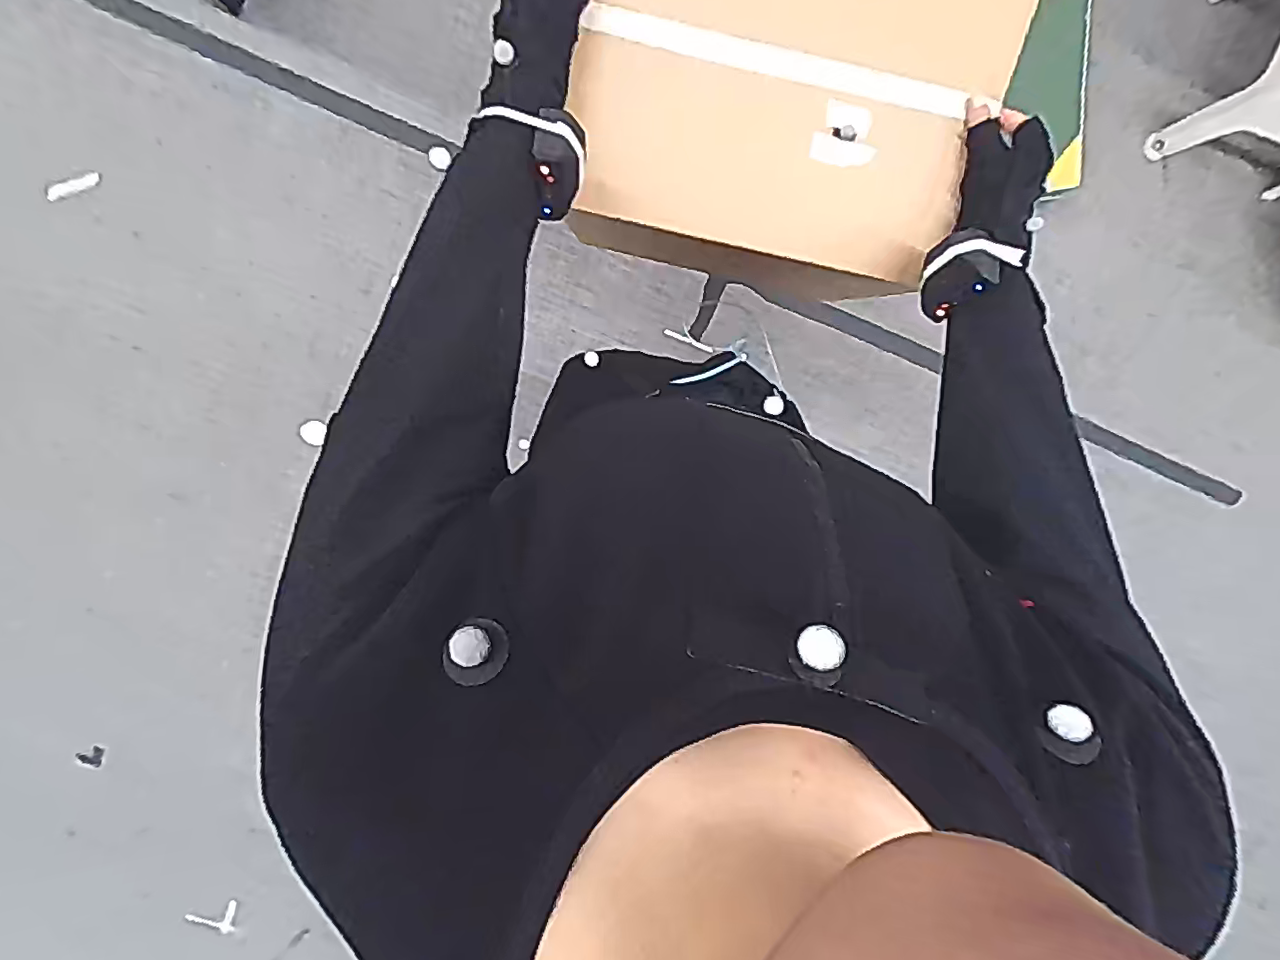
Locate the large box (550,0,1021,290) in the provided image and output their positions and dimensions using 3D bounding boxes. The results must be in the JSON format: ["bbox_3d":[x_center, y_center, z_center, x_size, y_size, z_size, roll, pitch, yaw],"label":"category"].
[{"bbox_3d":[0.130,-0.430,0.644,0.408,0.320,0.320,11,107,-4],"label":"large box"}]
